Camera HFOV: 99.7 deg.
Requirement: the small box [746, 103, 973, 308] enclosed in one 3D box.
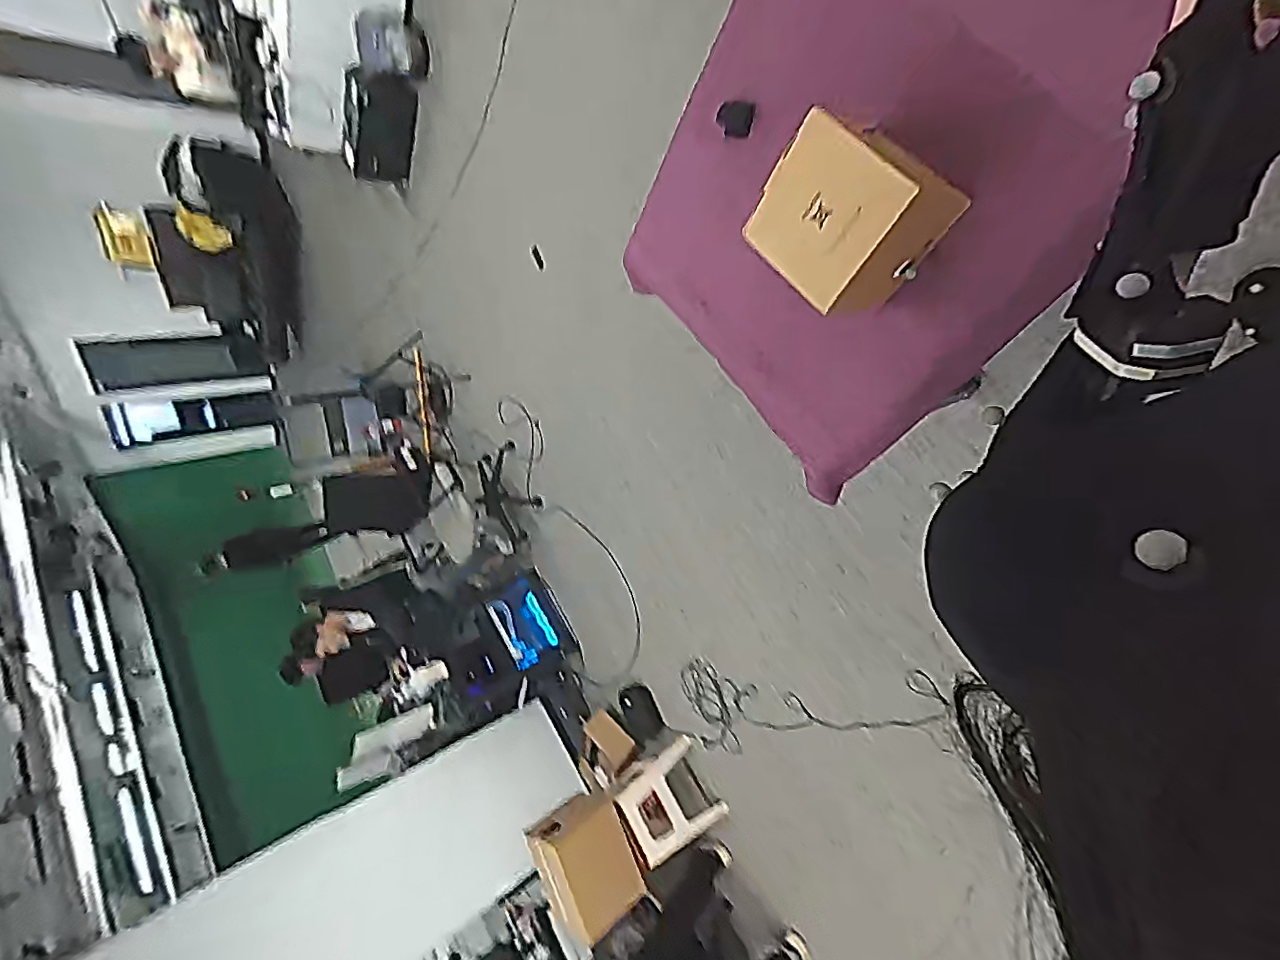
[{"bbox_3d":[0.281,-0.346,0.703,0.179,0.176,0.168,53,138,21],"label":"small box"}]
